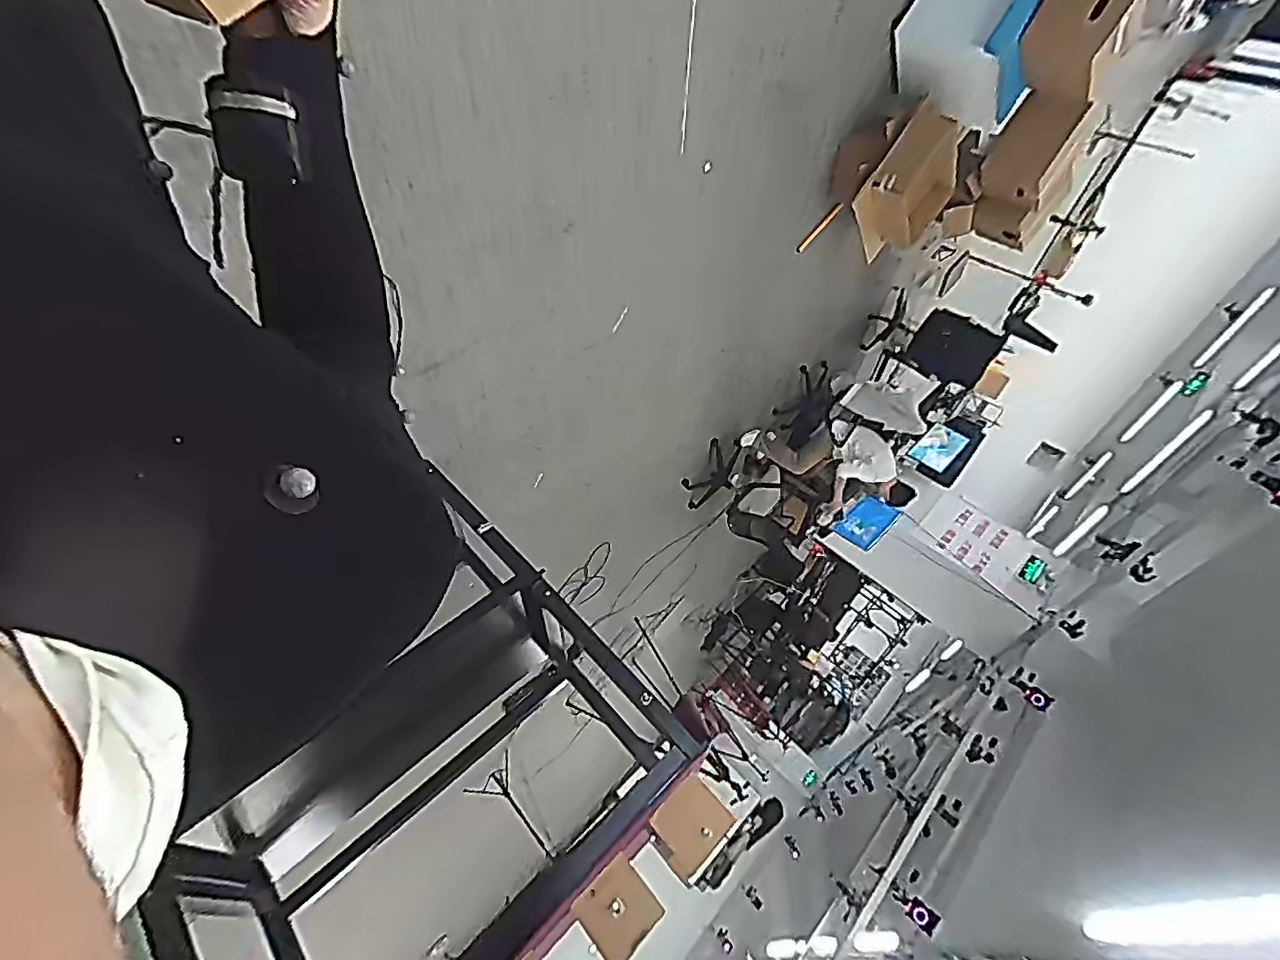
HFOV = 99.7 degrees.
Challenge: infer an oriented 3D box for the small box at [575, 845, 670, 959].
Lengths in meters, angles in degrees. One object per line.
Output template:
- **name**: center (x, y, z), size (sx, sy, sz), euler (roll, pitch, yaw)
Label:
- **small box**: center (-0.048, 1.042, 1.331), size (0.168, 0.176, 0.179), euler (-35, 150, -28)

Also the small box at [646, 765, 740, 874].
- **small box**: center (0.139, 0.910, 1.456), size (0.179, 0.176, 0.168), euler (-35, 149, -28)

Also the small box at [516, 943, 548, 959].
- **small box**: center (-0.250, 1.183, 1.194), size (0.179, 0.176, 0.168), euler (-36, 151, -30)
